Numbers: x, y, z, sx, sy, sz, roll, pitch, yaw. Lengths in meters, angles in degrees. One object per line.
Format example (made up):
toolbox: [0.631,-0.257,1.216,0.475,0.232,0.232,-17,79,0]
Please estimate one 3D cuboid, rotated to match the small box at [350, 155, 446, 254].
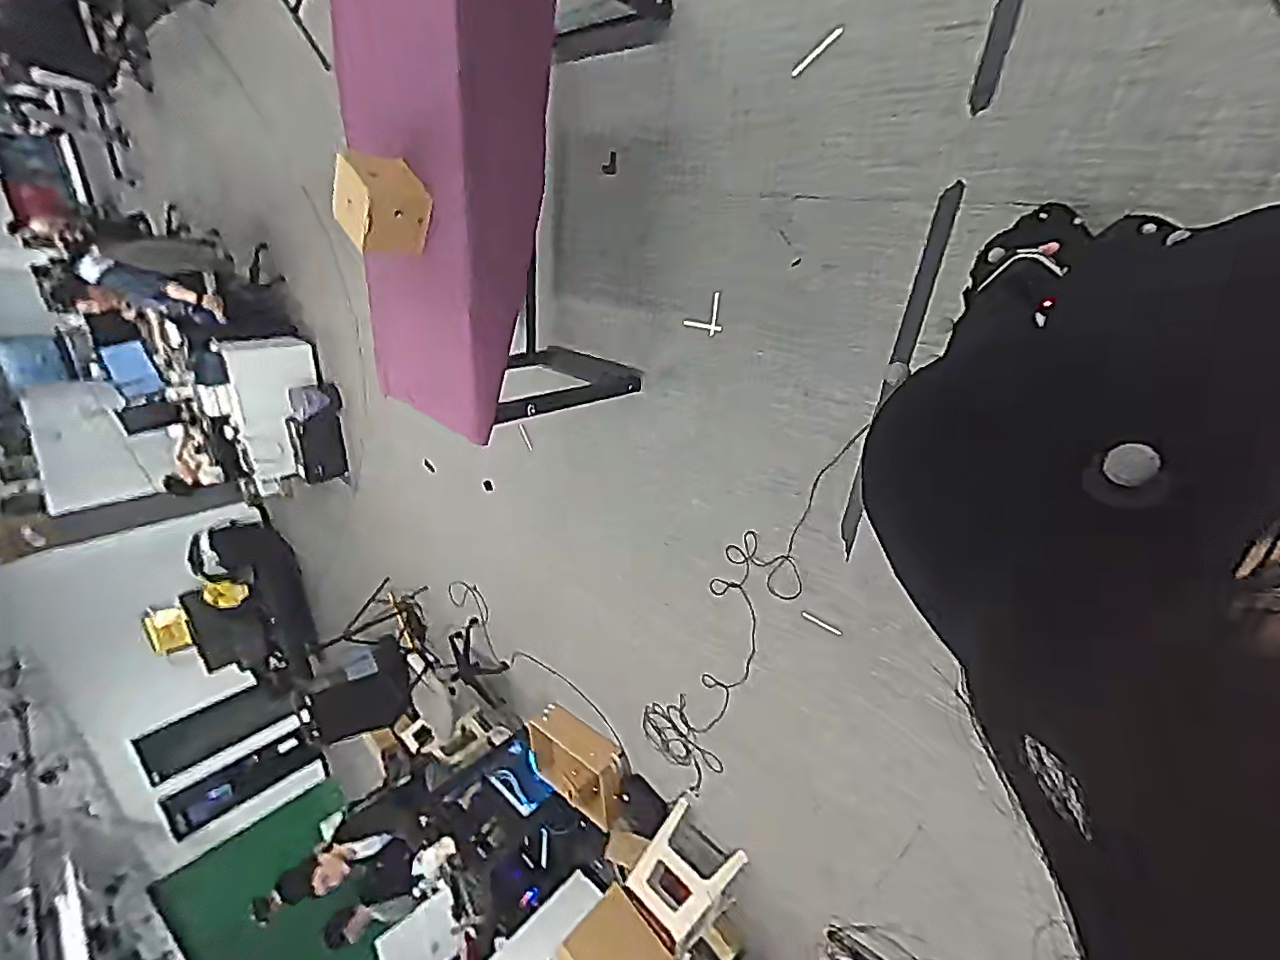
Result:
small box: [-0.635,-0.718,1.421,0.179,0.176,0.168,53,134,18]
